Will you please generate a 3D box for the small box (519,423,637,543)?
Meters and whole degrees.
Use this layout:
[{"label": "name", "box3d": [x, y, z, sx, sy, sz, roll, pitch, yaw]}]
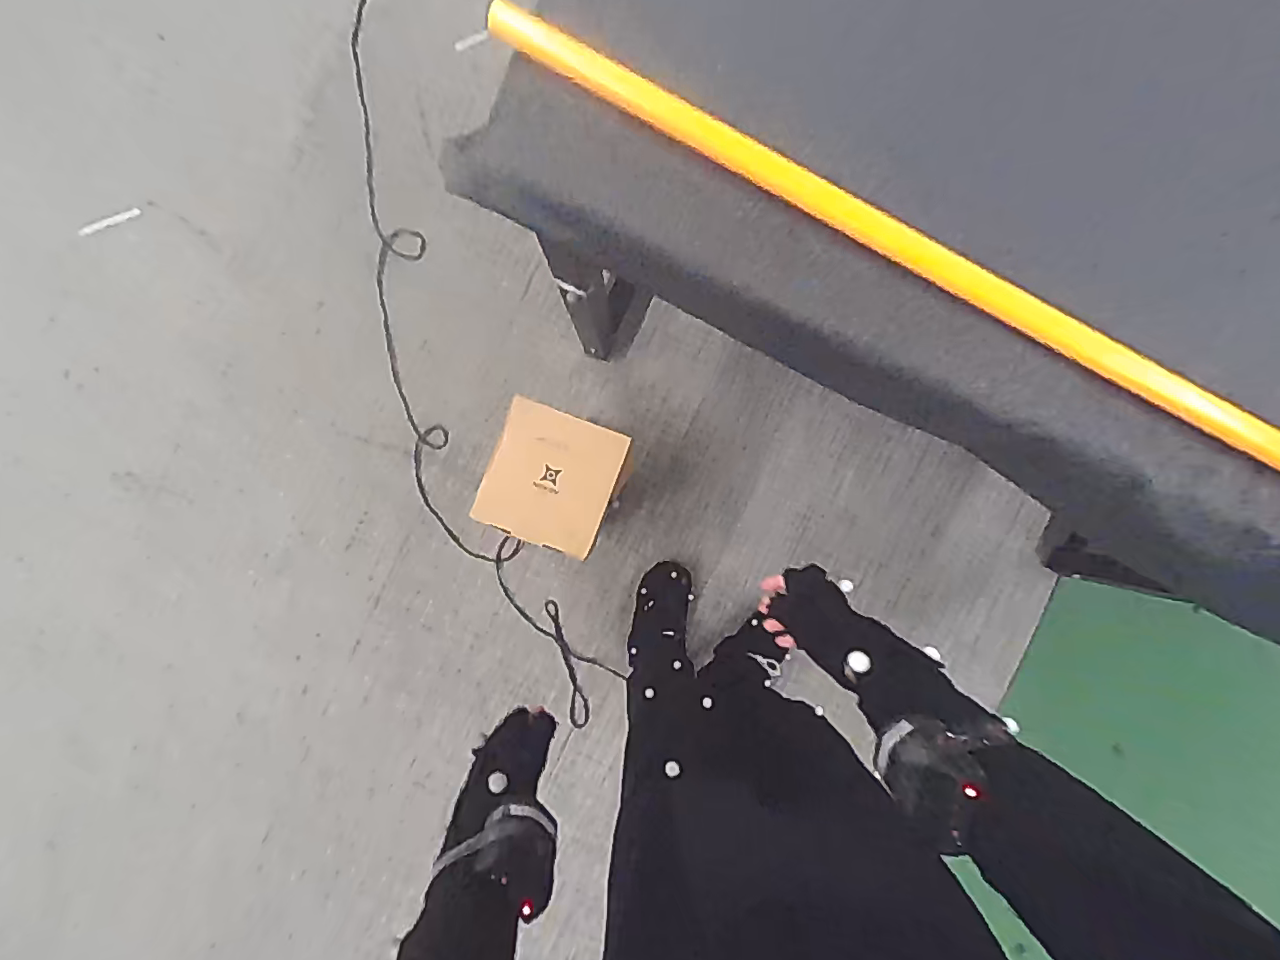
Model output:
[{"label": "small box", "box3d": [-0.120, 0.005, 1.110, 0.168, 0.176, 0.179, 33, 91, 0]}]
